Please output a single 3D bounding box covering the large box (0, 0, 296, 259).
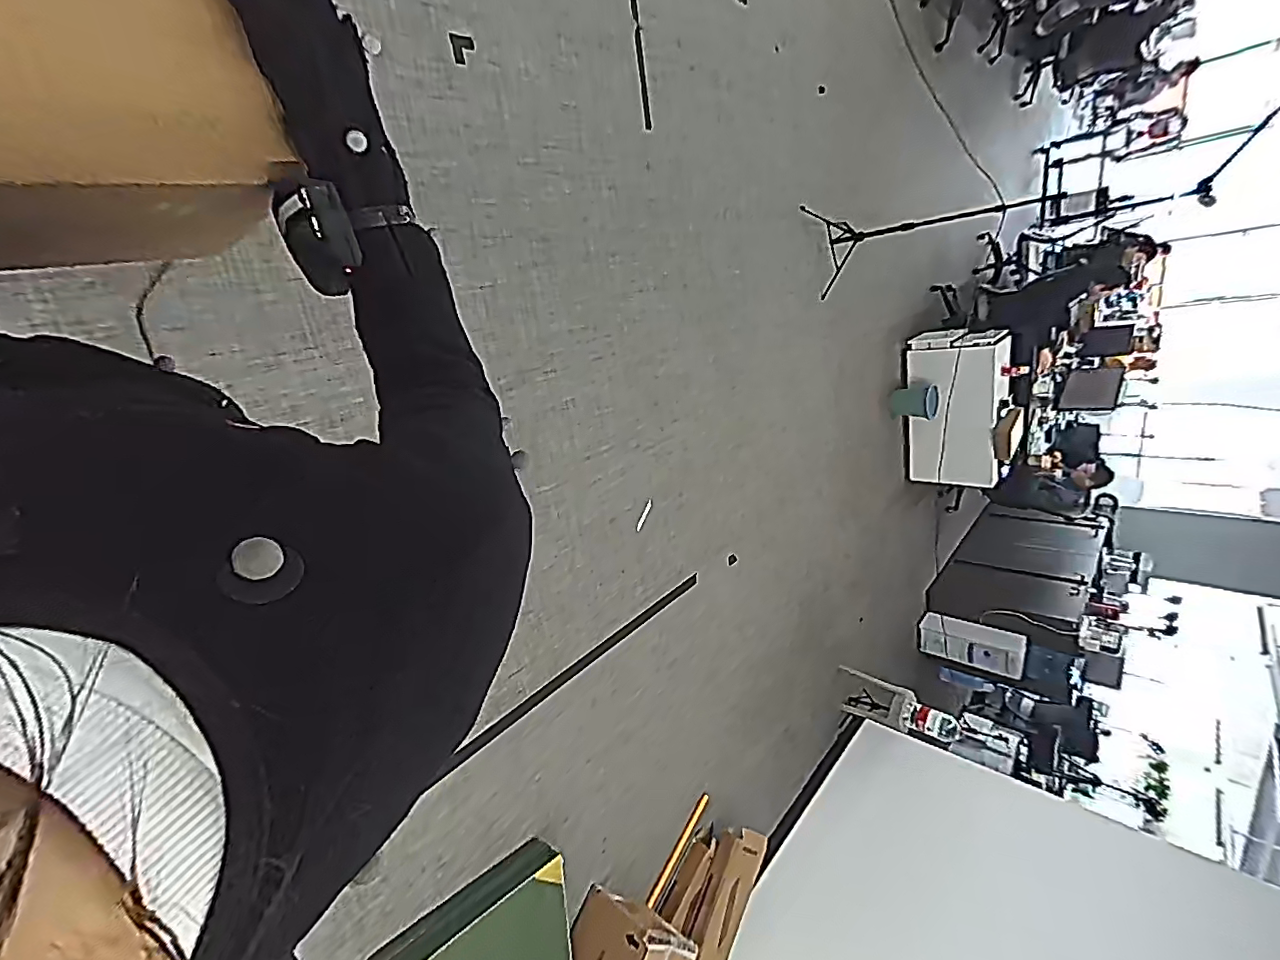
[{"bbox_3d":[-0.508,-0.305,0.303,0.408,0.320,0.320,-28,118,-41],"label":"large box"}]
